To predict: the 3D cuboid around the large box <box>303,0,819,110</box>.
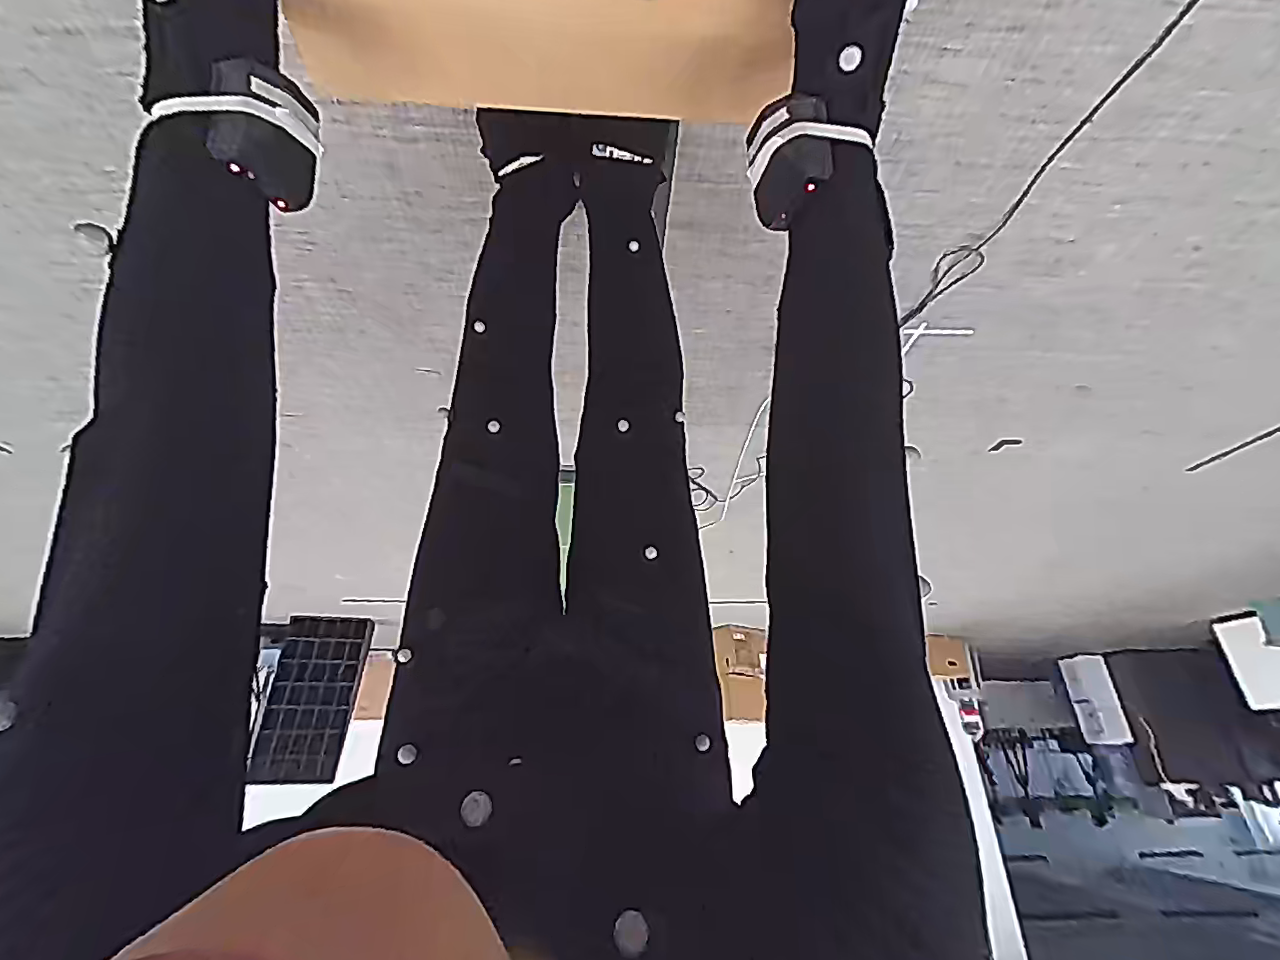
[{"bbox_3d":[-0.060,-0.537,0.414,0.408,0.320,0.320,0,153,-4],"label":"large box"}]
